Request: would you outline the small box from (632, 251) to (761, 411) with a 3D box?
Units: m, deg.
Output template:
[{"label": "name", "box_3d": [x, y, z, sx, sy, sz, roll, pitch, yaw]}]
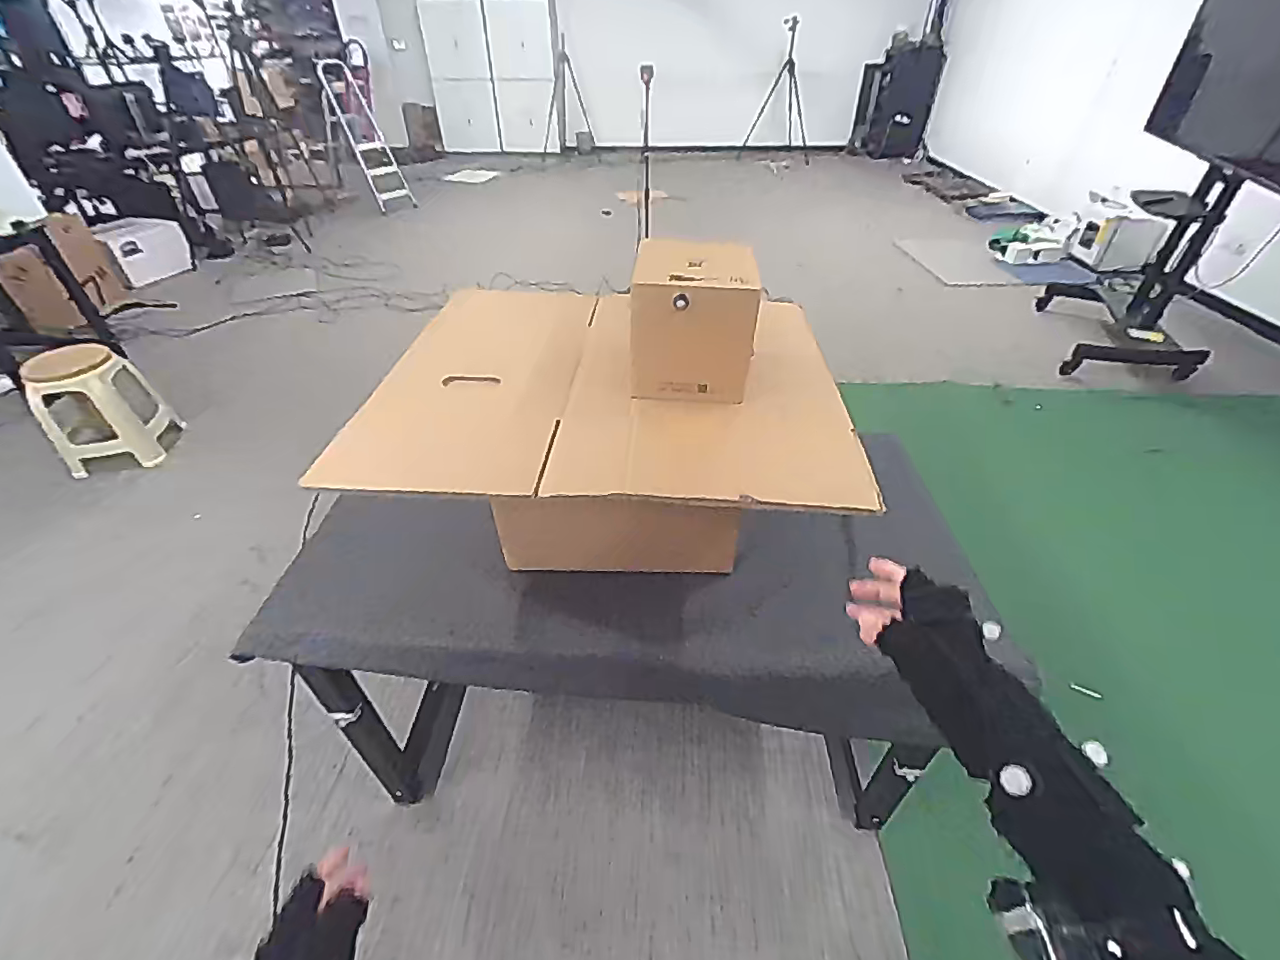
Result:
[{"label": "small box", "box_3d": [0.077, -0.221, 0.794, 0.168, 0.176, 0.179, 4, 39, 4]}]
